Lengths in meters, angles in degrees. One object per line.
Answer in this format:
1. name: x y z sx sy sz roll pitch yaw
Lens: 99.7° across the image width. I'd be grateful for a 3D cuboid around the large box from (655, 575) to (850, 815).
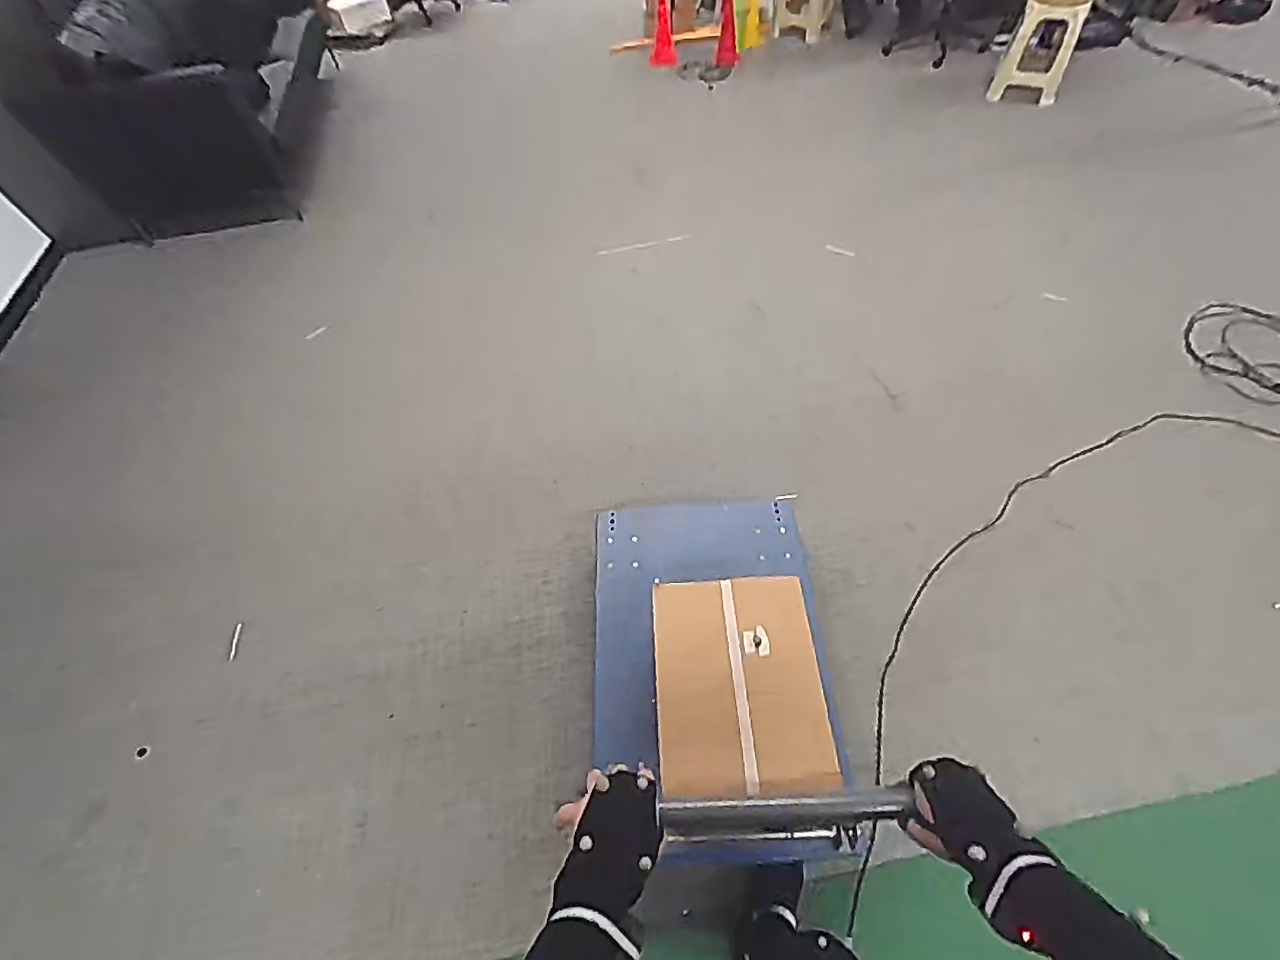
1. large box: 0.205 0.458 1.146 0.320 0.320 0.408 -4 55 2
